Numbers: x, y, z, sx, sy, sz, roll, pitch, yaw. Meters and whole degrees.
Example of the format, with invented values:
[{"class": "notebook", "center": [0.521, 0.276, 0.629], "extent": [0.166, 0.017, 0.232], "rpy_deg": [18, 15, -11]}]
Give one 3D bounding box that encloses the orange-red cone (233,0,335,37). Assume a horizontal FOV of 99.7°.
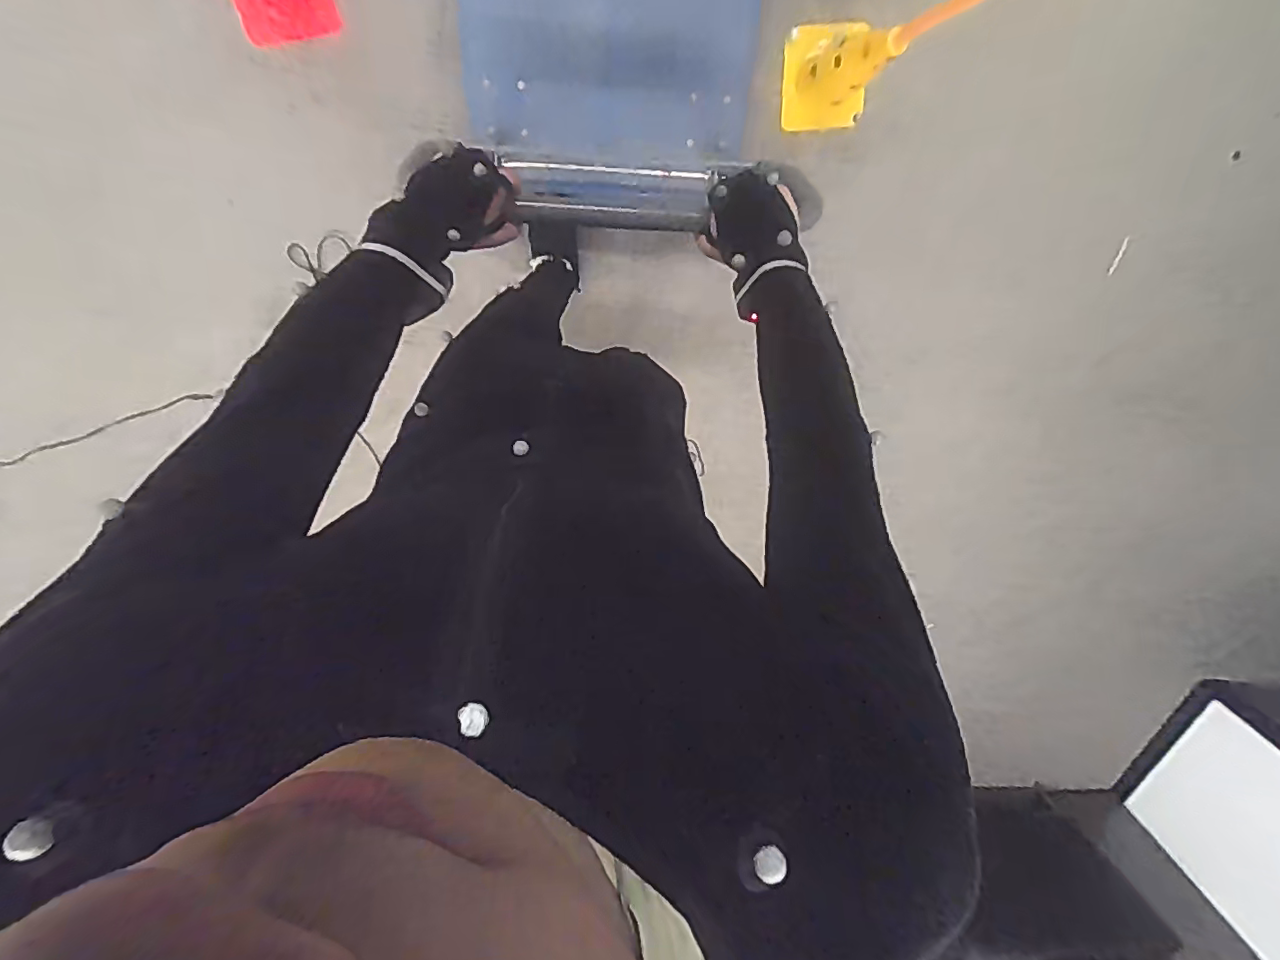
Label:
[{"class": "orange-red cone", "center": [-0.724, -0.940, 0.935], "extent": [0.199, 0.360, 0.198], "rpy_deg": [-8, 118, 0]}]
